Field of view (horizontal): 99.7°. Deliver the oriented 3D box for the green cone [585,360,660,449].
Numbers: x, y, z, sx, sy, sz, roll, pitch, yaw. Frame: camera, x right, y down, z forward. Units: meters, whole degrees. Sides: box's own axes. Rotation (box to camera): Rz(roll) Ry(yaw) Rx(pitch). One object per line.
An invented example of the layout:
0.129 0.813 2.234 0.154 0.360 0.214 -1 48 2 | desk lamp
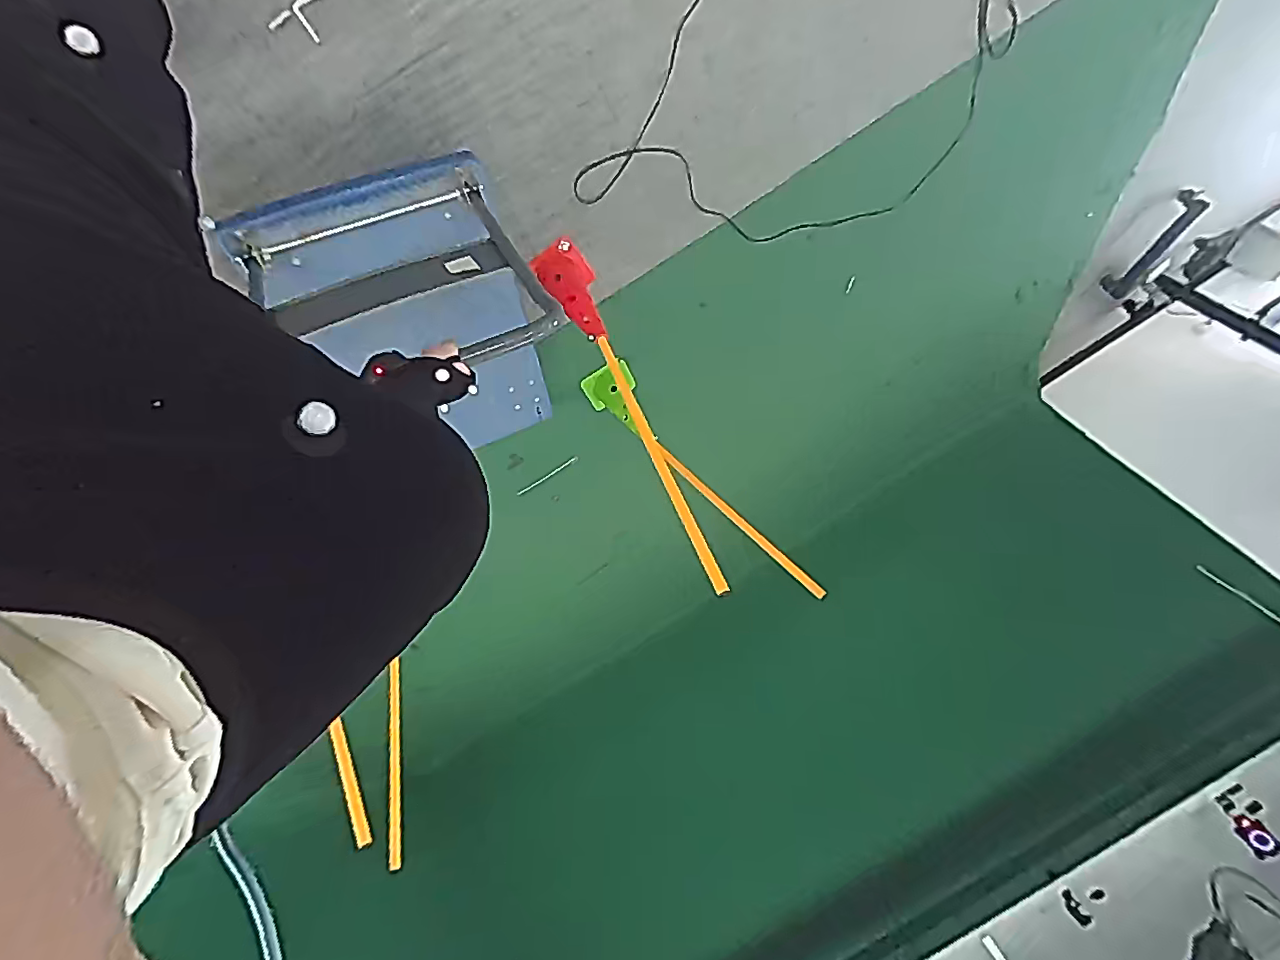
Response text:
-0.031 -0.254 2.081 0.200 0.368 0.202 -34 148 1 | green cone
